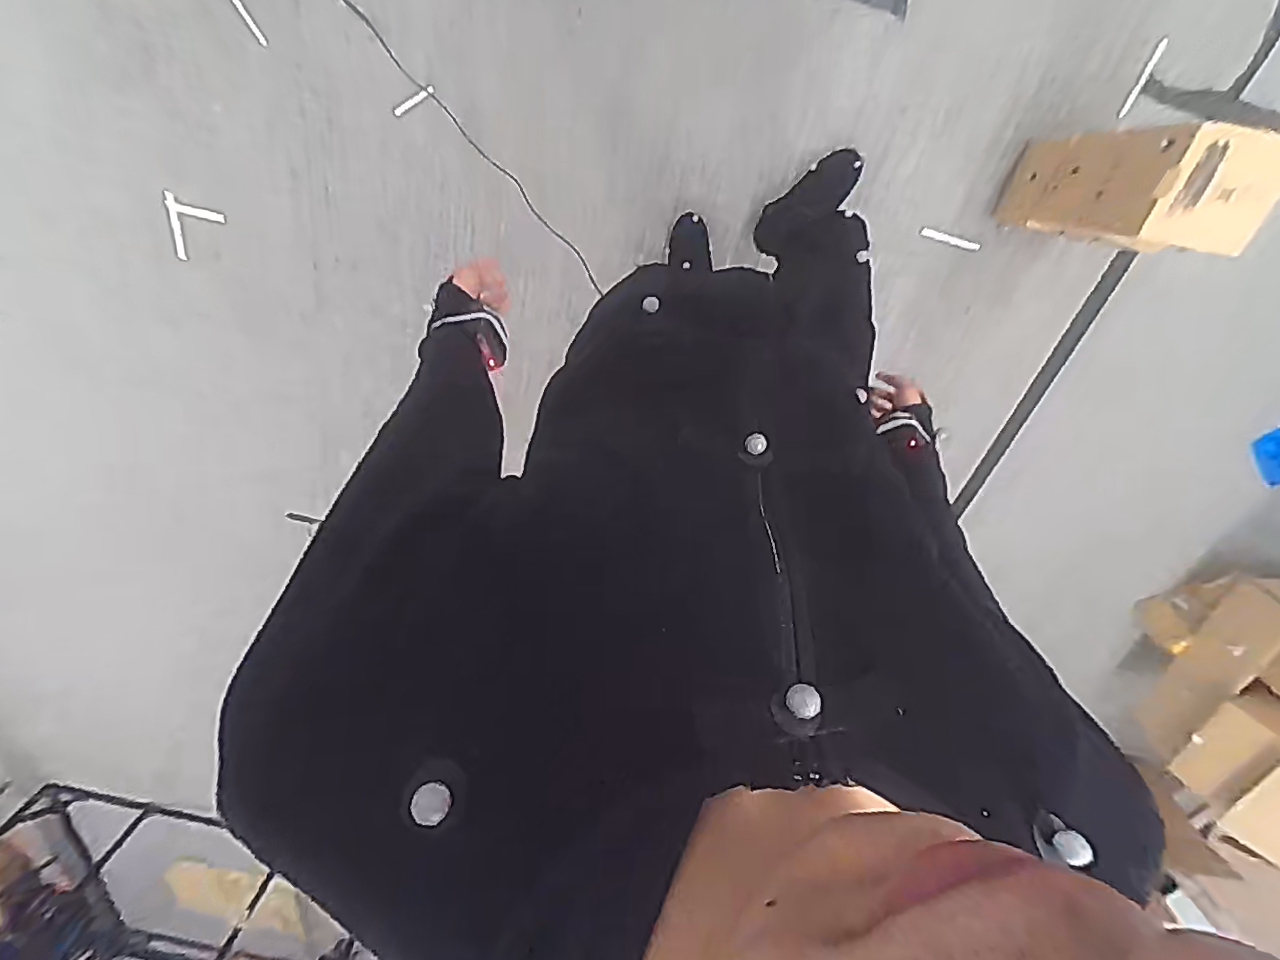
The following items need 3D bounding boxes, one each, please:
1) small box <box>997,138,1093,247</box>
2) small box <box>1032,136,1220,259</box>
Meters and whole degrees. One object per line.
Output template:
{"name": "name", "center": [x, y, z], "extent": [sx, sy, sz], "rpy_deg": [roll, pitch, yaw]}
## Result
{"name": "small box", "center": [0.942, -0.640, 1.207], "extent": [0.168, 0.176, 0.179], "rpy_deg": [13, 120, -1]}
{"name": "small box", "center": [0.939, -0.559, 1.066], "extent": [0.179, 0.176, 0.168], "rpy_deg": [17, 121, -3]}
